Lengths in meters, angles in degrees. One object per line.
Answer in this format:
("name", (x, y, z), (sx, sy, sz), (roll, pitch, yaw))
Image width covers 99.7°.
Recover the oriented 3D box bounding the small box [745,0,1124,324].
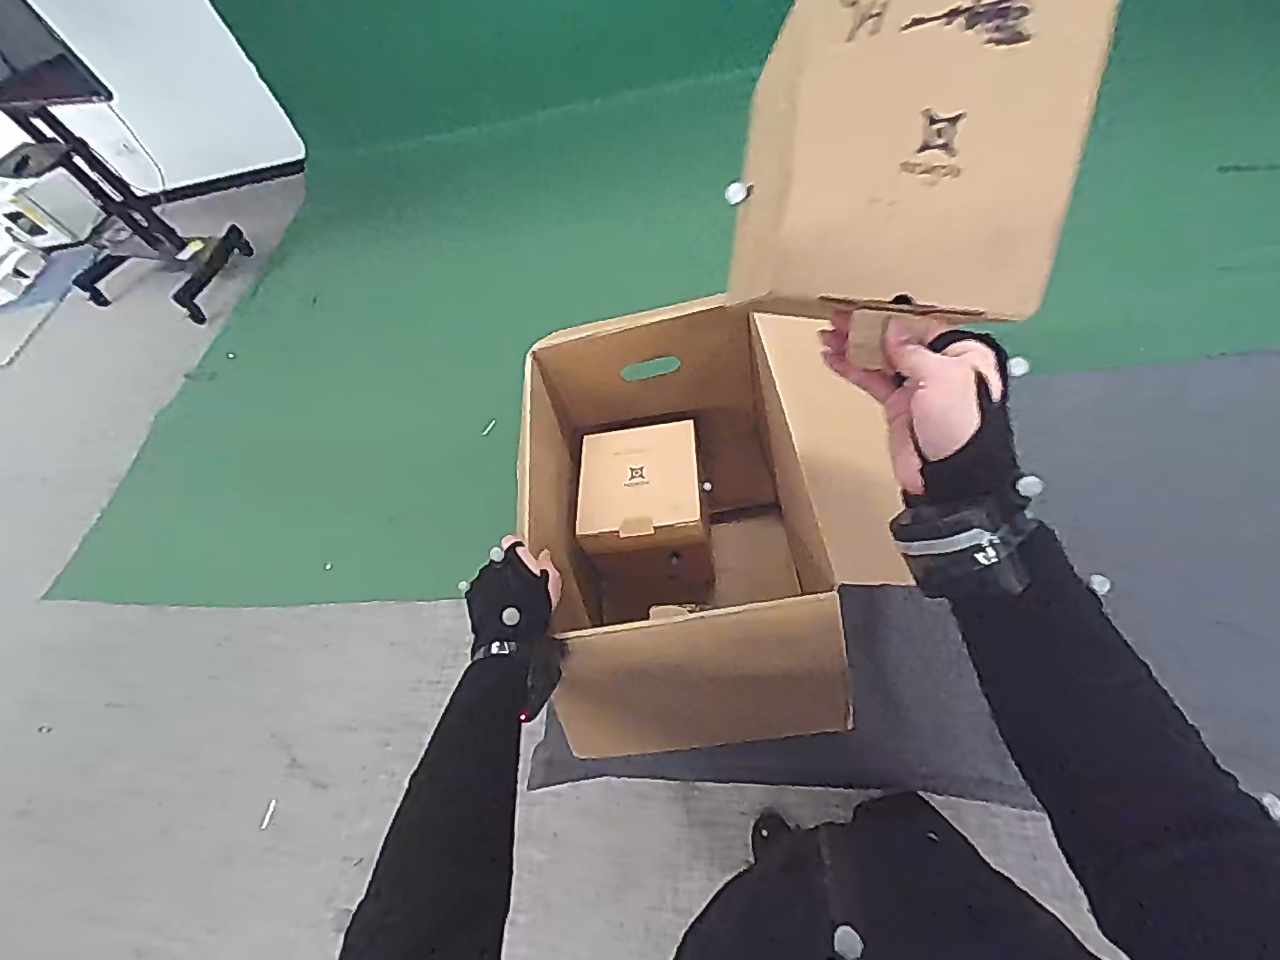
("small box", (0.178, -0.212, 0.395), (0.168, 0.179, 0.176), (6, 16, 0))
